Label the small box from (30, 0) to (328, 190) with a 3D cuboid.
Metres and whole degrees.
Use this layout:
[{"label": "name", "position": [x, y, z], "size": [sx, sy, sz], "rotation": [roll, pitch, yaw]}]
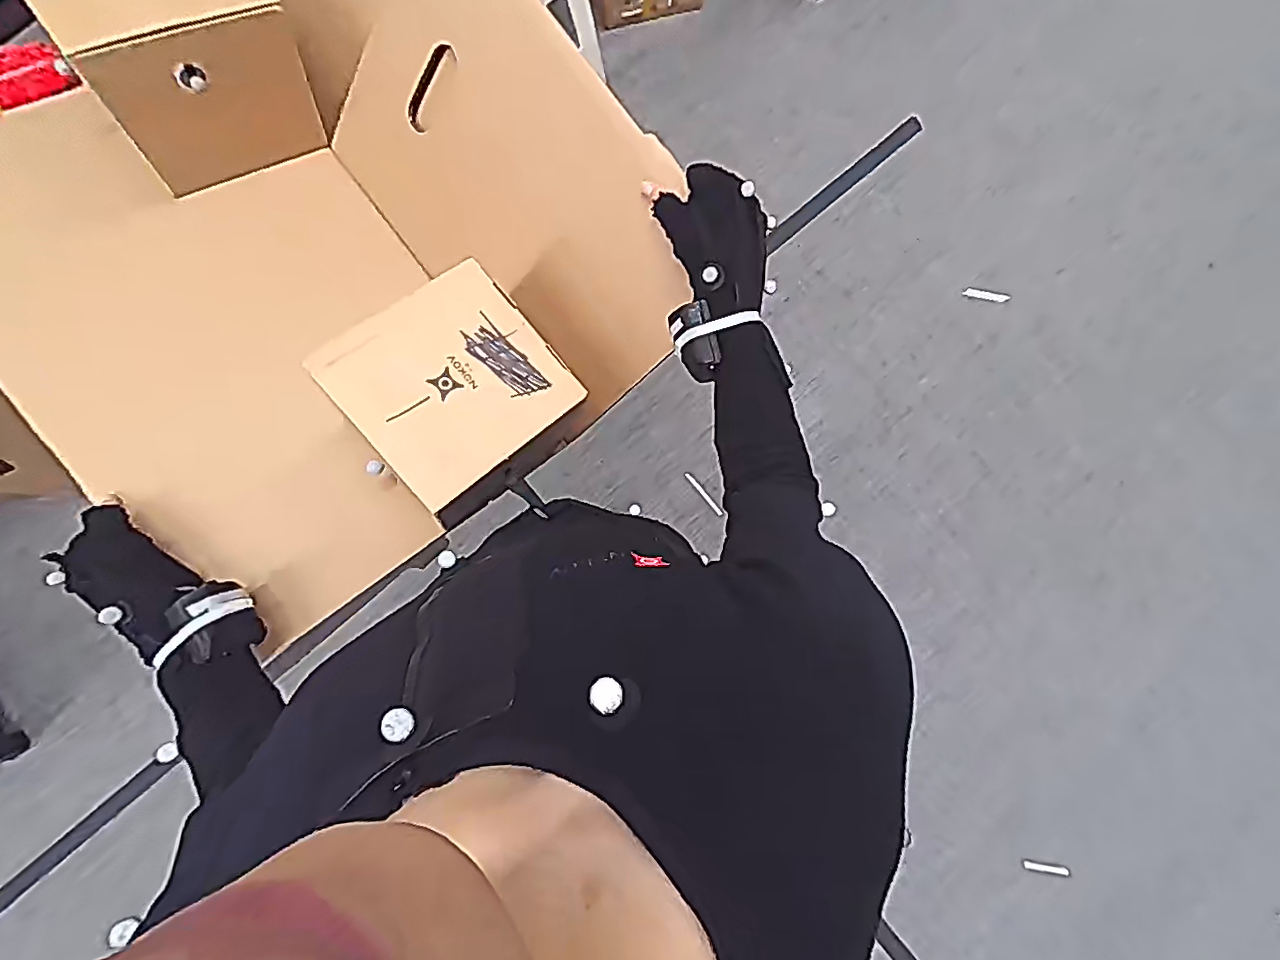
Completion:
[{"label": "small box", "position": [-0.450, -0.428, 0.534], "size": [0.179, 0.176, 0.168], "rotation": [-34, 91, -20]}]
